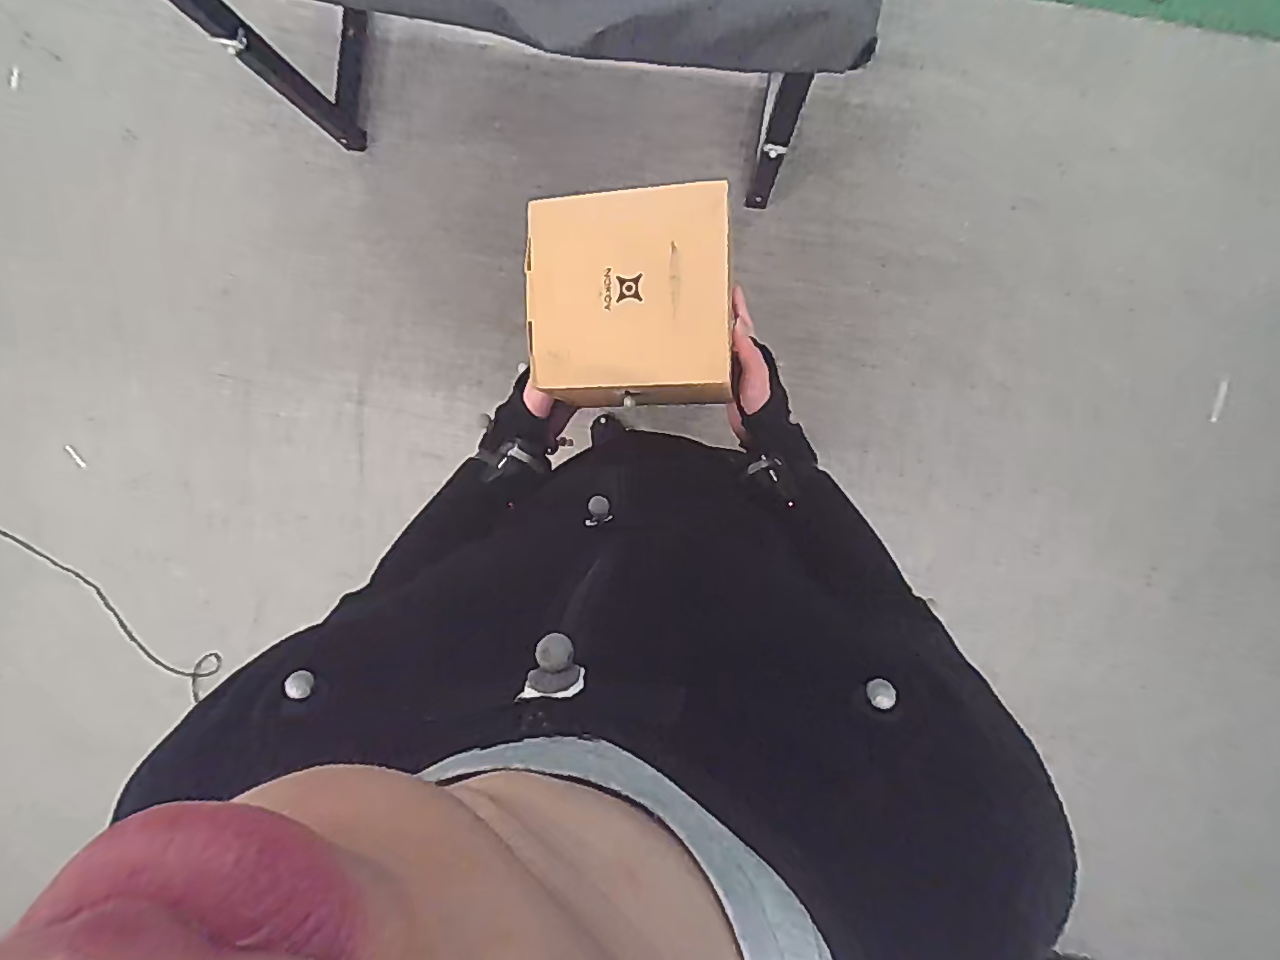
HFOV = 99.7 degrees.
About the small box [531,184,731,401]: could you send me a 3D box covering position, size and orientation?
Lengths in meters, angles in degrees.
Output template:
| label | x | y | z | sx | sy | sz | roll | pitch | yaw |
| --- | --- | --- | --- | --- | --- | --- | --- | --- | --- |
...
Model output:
| label | x | y | z | sx | sy | sz | roll | pitch | yaw |
| --- | --- | --- | --- | --- | --- | --- | --- | --- | --- |
| small box | 0.002 | -0.170 | 0.548 | 0.179 | 0.176 | 0.168 | 0 | 94 | 9 |
